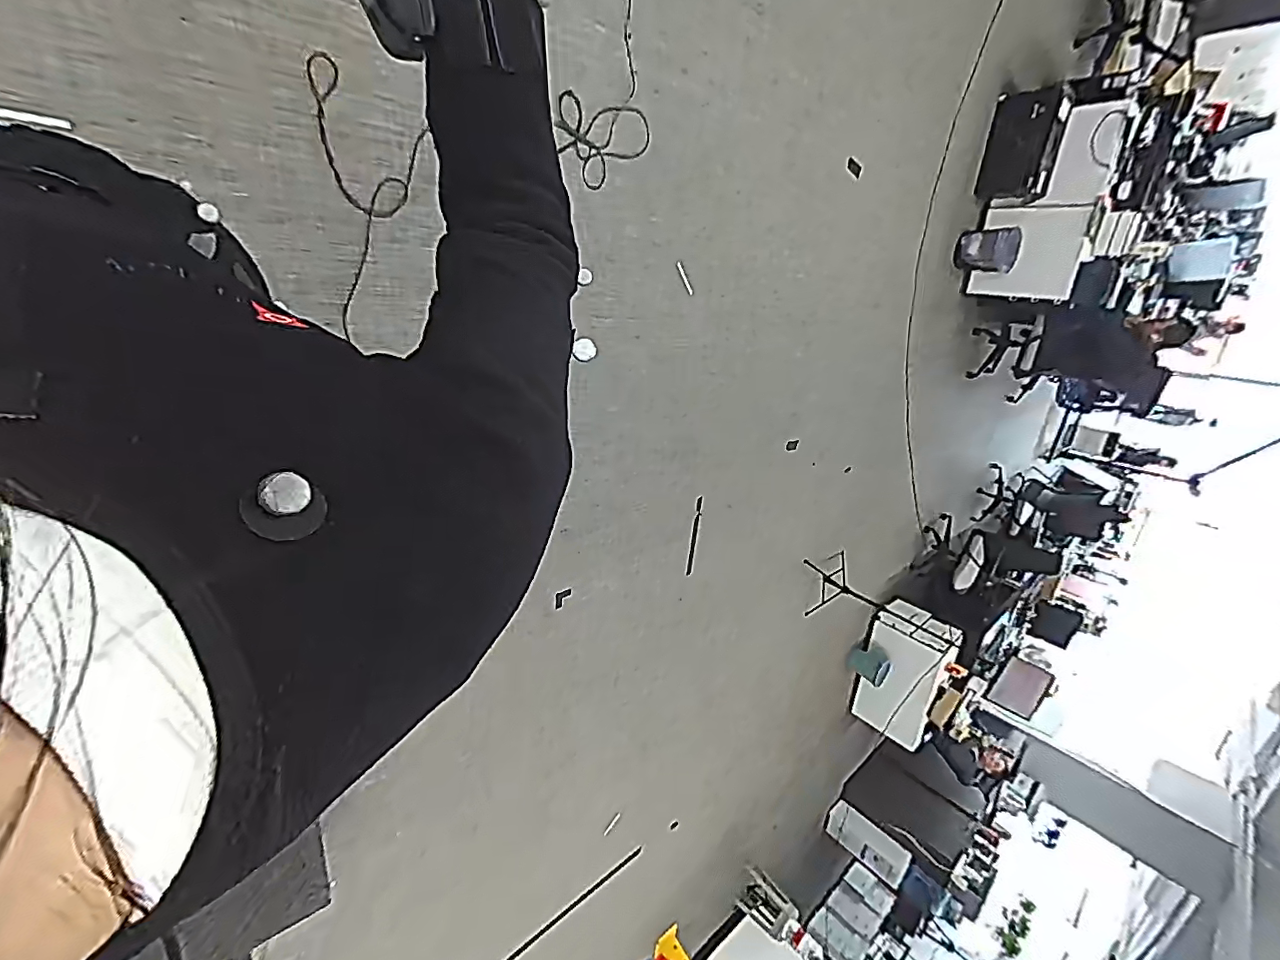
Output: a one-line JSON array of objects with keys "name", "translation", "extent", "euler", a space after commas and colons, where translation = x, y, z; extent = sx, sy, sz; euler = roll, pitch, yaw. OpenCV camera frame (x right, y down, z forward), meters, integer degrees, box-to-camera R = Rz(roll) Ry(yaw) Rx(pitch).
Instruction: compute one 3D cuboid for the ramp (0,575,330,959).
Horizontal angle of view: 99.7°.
[{"name": "ramp", "translation": [-1.087, 0.758, 1.309], "extent": [0.509, 0.206, 0.991], "euler": [-12, 116, -39]}]
